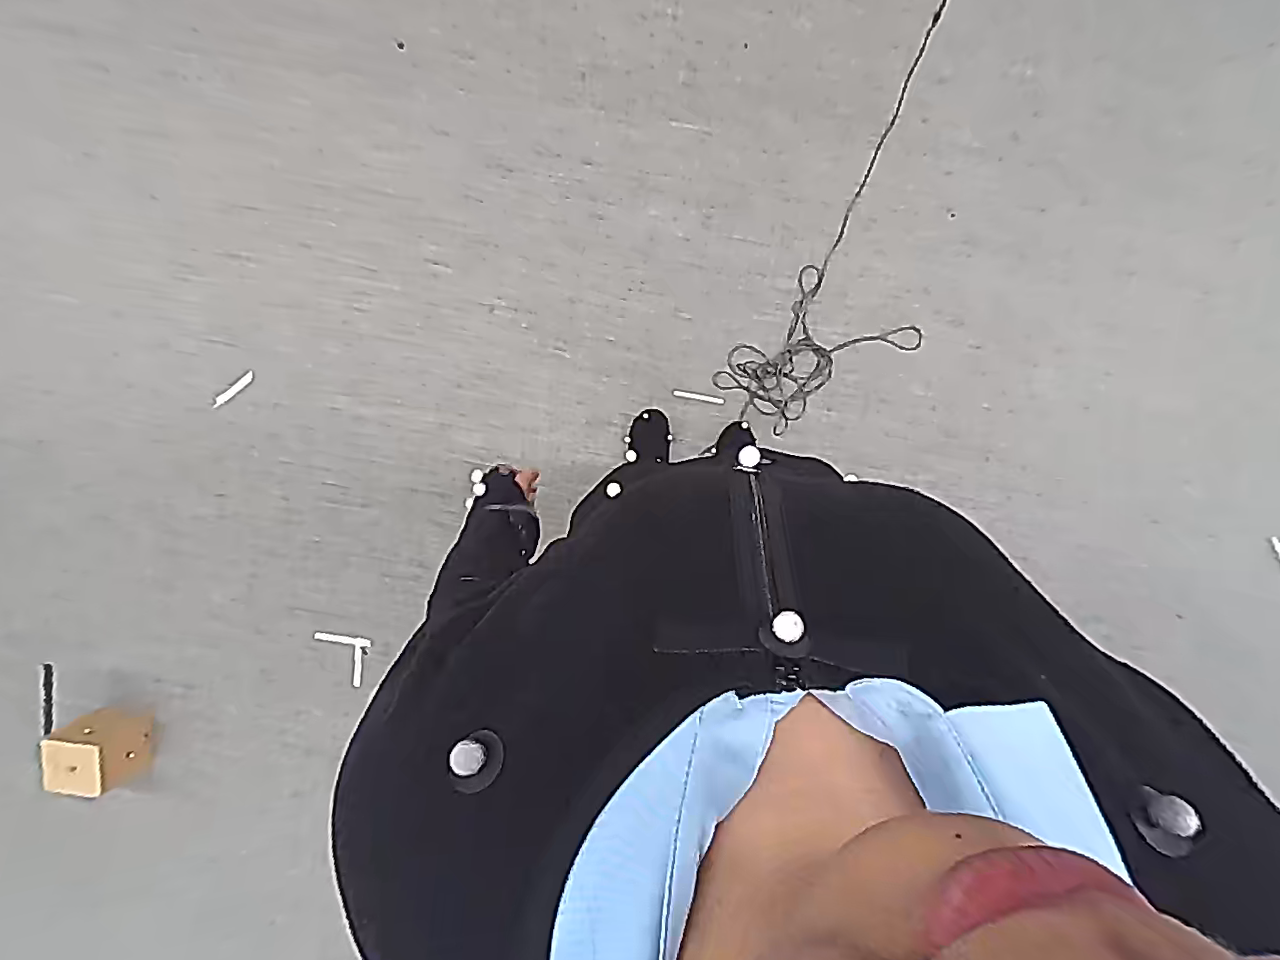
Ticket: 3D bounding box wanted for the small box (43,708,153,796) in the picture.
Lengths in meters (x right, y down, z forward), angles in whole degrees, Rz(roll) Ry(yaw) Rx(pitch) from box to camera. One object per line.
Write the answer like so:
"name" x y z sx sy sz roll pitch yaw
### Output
"small box" -1.619 0.811 1.628 0.179 0.176 0.168 6 98 3
